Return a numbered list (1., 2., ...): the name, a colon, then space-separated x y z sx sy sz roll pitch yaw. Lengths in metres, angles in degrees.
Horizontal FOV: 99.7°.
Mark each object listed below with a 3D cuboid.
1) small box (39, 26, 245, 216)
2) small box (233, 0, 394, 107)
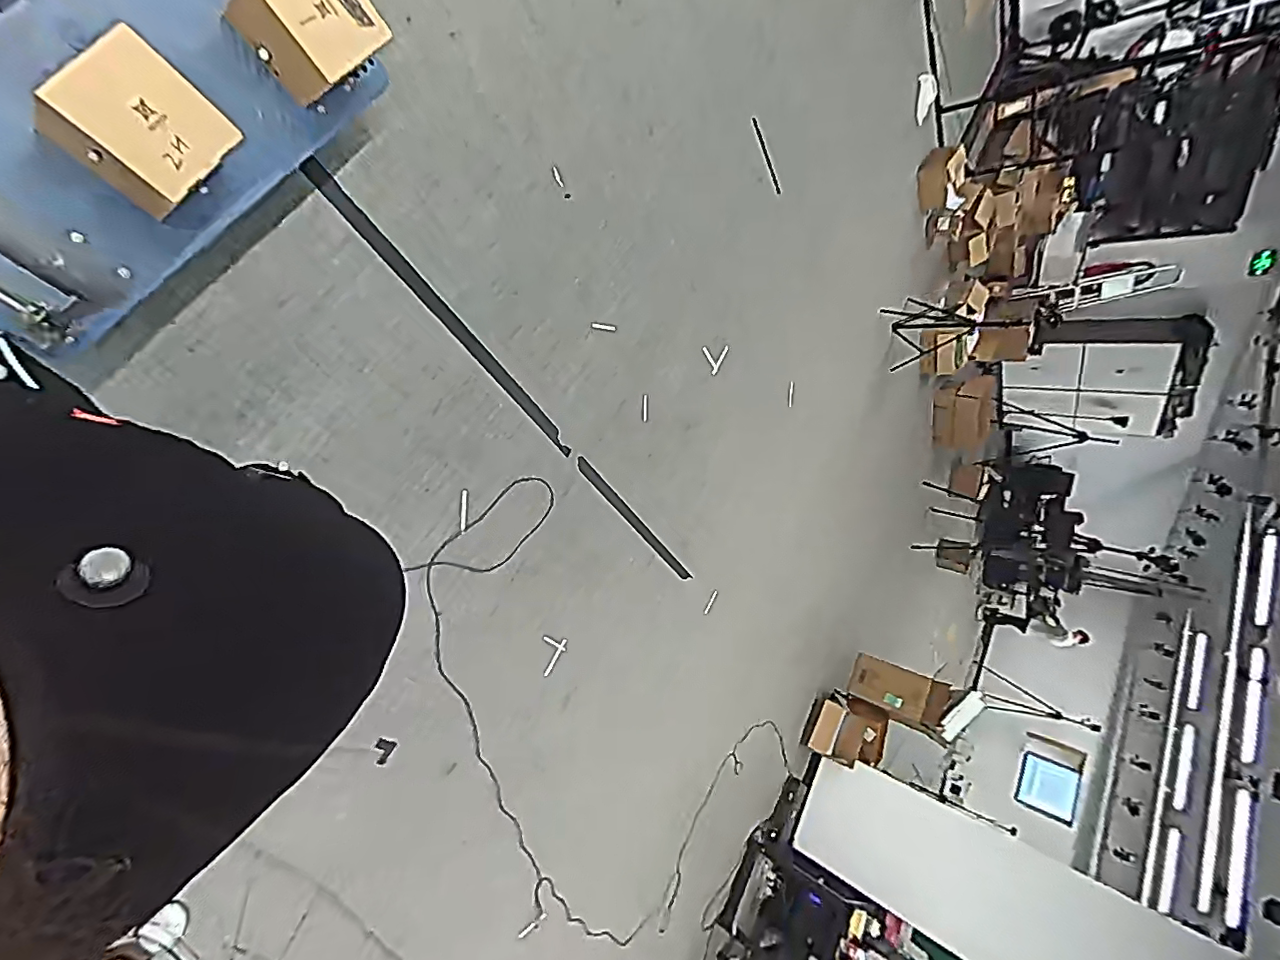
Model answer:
1. small box: -0.790 -0.555 0.862 0.179 0.176 0.168 46 65 -44
2. small box: -0.606 -0.837 1.001 0.179 0.176 0.168 -57 135 -21
